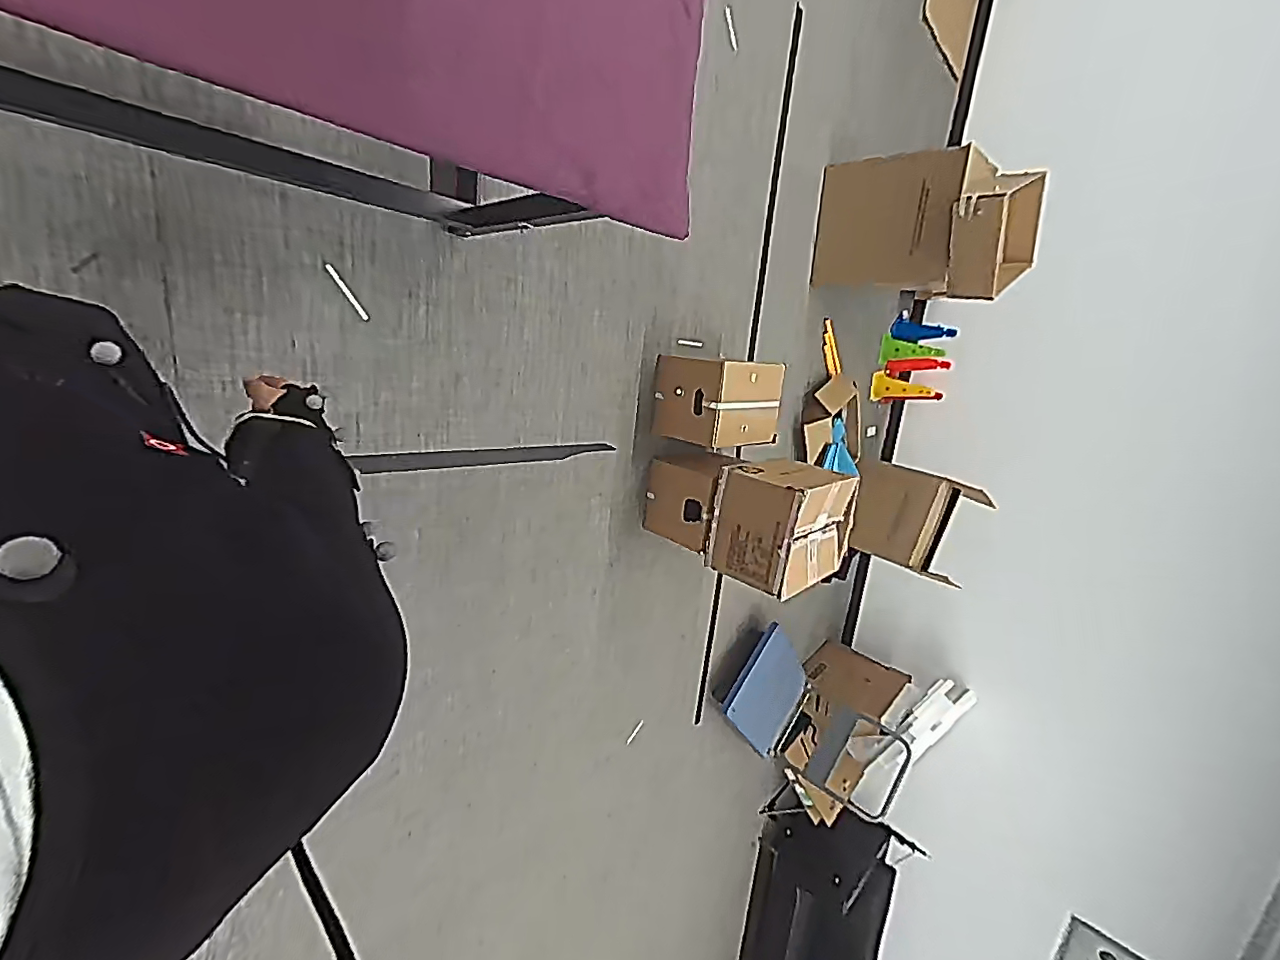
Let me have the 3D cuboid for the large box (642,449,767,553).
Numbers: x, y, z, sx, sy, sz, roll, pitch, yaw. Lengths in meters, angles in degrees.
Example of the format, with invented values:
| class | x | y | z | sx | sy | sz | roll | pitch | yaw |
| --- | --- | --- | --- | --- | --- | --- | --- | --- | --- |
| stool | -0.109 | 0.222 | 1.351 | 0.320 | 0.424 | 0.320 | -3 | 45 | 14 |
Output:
| class | x | y | z | sx | sy | sz | roll | pitch | yaw |
| --- | --- | --- | --- | --- | --- | --- | --- | --- | --- |
| large box | 0.265 | 0.068 | 2.235 | 0.408 | 0.320 | 0.320 | -9 | 111 | -44 |
